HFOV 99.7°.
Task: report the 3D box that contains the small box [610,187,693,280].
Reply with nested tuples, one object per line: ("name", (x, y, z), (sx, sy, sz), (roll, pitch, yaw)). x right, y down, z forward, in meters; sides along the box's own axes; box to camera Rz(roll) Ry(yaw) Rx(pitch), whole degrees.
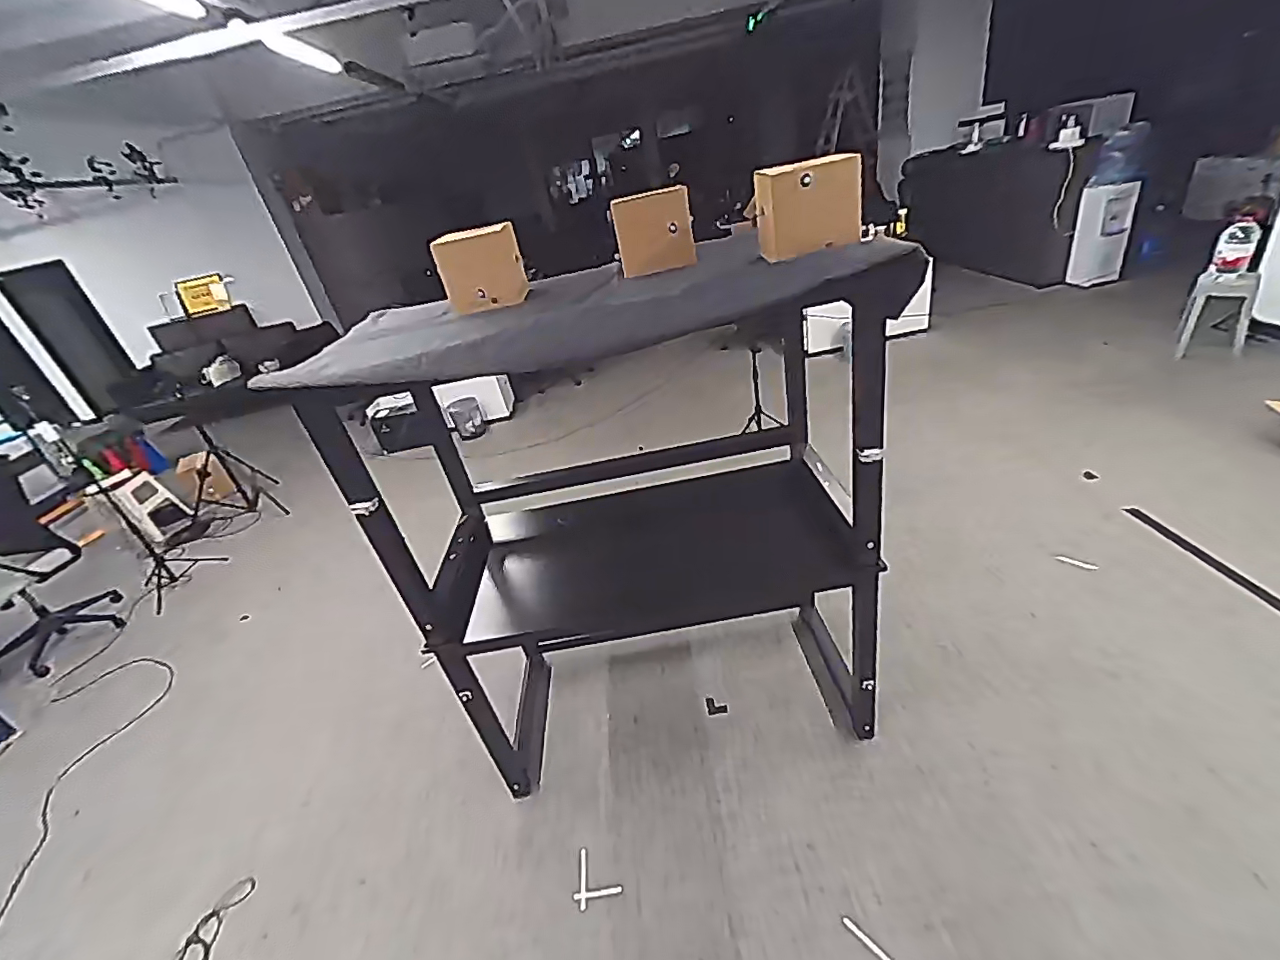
("small box", (0.031, -0.598, 1.311), (0.179, 0.176, 0.168), (-10, 29, 4))

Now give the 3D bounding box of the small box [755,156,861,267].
("small box", (0.332, -0.537, 1.088), (0.168, 0.176, 0.179), (-10, 29, 6))
